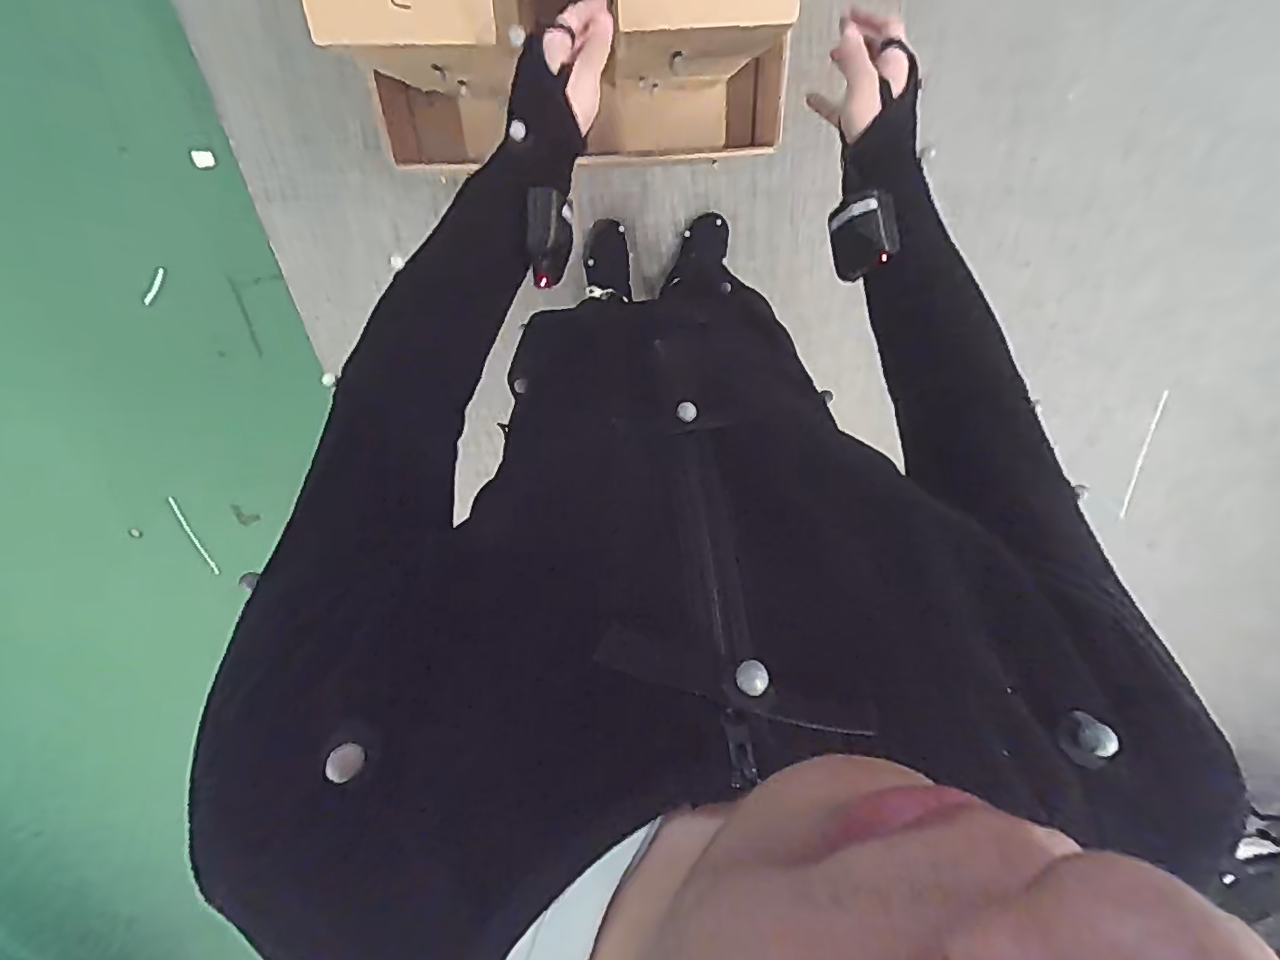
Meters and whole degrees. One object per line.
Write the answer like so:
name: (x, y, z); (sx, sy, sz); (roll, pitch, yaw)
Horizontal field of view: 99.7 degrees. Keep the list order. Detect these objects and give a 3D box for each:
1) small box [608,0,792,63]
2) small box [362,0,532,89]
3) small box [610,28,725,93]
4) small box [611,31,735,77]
small box: (0.050, -0.526, 0.520); (0.168, 0.176, 0.179); (-2, 120, -1)
small box: (-0.230, -0.589, 0.658); (0.168, 0.176, 0.179); (-3, 120, -3)
small box: (0.039, -0.689, 0.803); (0.168, 0.176, 0.179); (-3, 119, 0)
small box: (0.045, -0.610, 0.660); (0.168, 0.176, 0.179); (-3, 119, -1)
